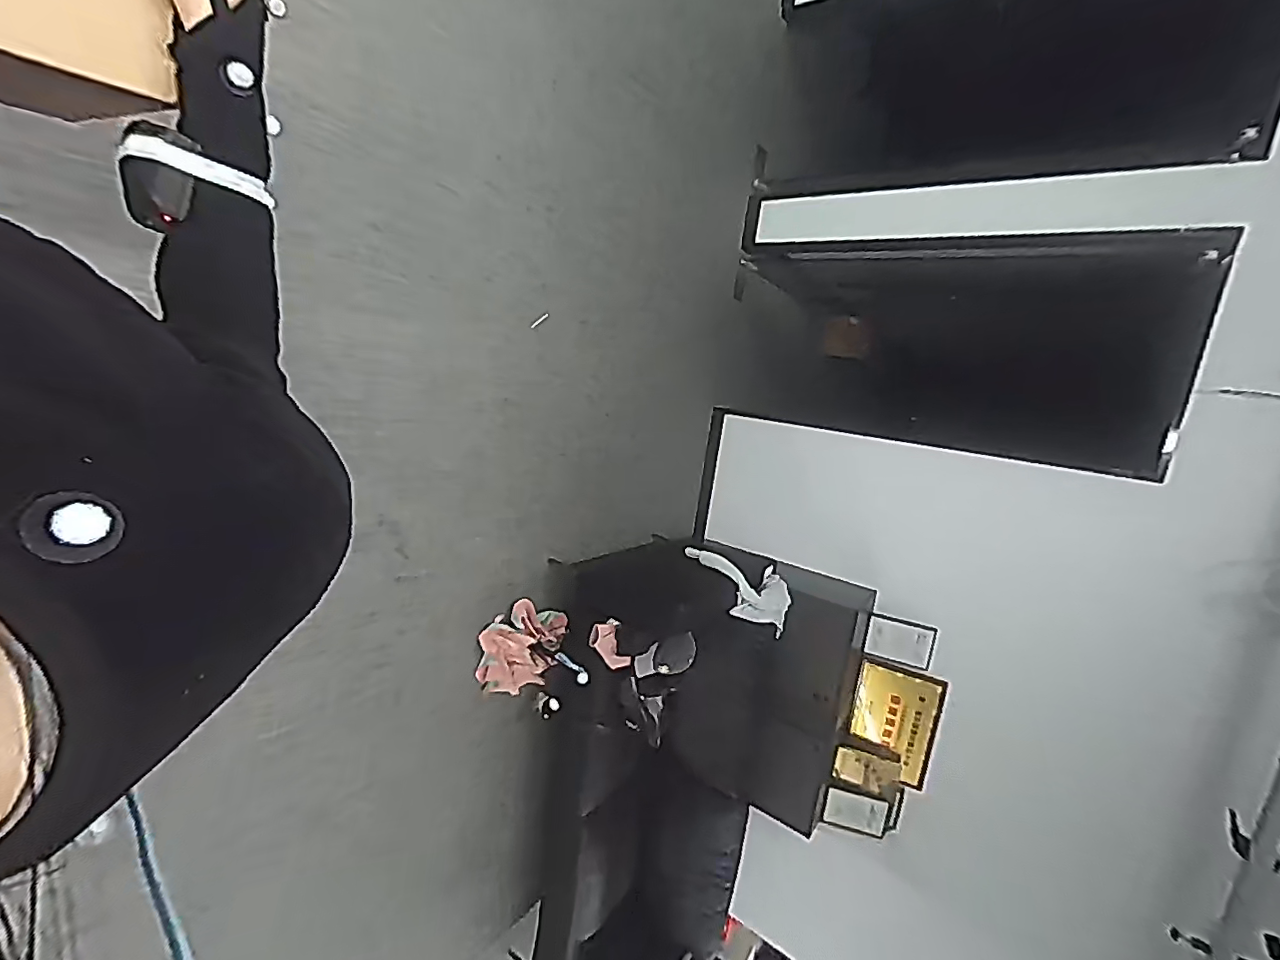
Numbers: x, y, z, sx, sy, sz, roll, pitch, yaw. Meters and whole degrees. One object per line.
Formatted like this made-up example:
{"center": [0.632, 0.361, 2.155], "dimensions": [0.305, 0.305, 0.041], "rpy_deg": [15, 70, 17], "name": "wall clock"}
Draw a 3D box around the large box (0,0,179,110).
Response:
{"center": [-0.561, -0.442, 0.287], "dimensions": [0.408, 0.320, 0.320], "rpy_deg": [-15, 120, -53], "name": "large box"}
